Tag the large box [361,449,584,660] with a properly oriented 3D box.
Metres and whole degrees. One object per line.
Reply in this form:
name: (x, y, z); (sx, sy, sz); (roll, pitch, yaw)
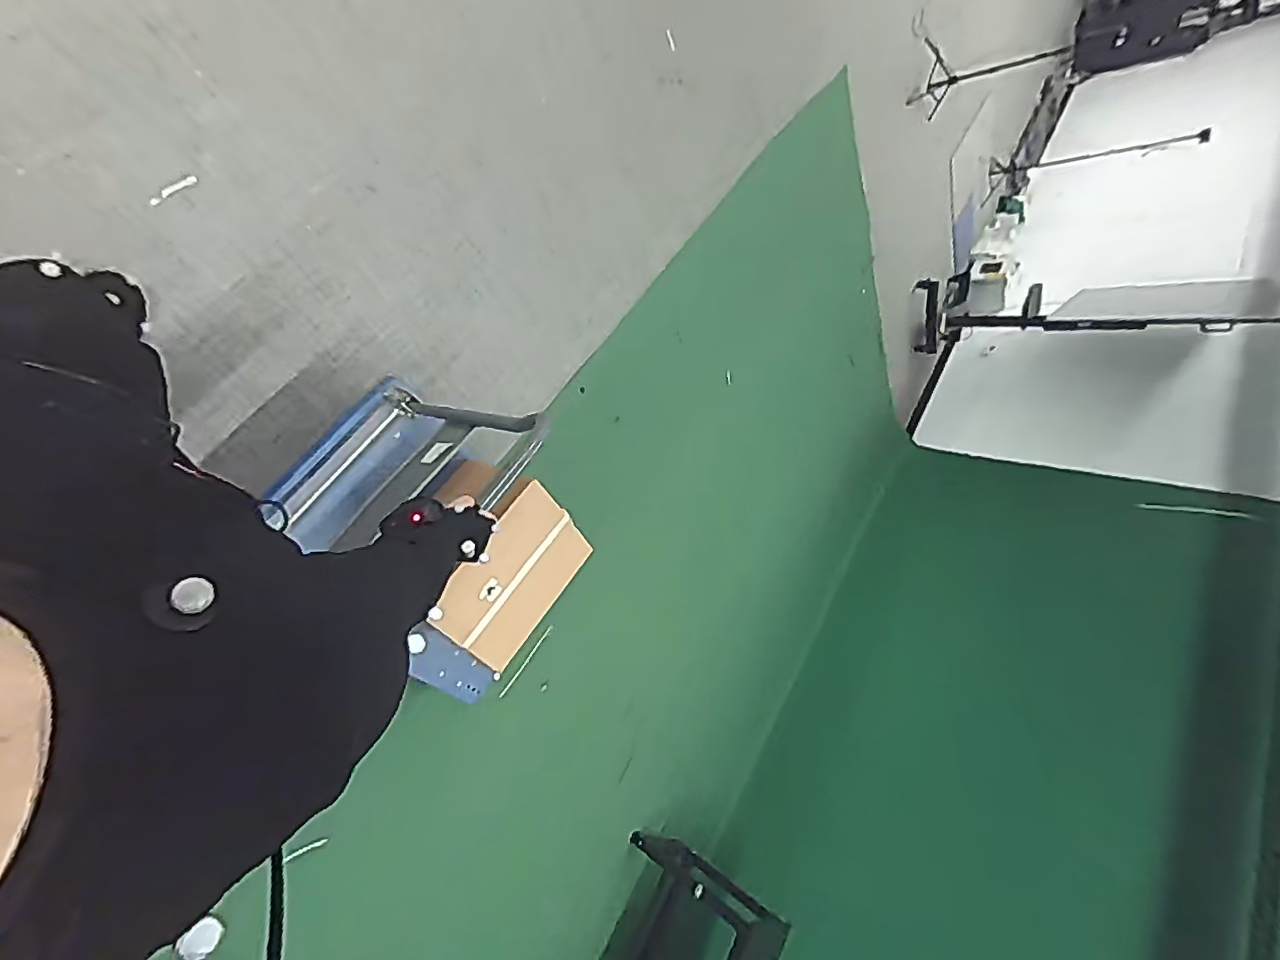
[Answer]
large box: (-0.430, 0.182, 1.432); (0.408, 0.320, 0.320); (-53, 134, -23)
